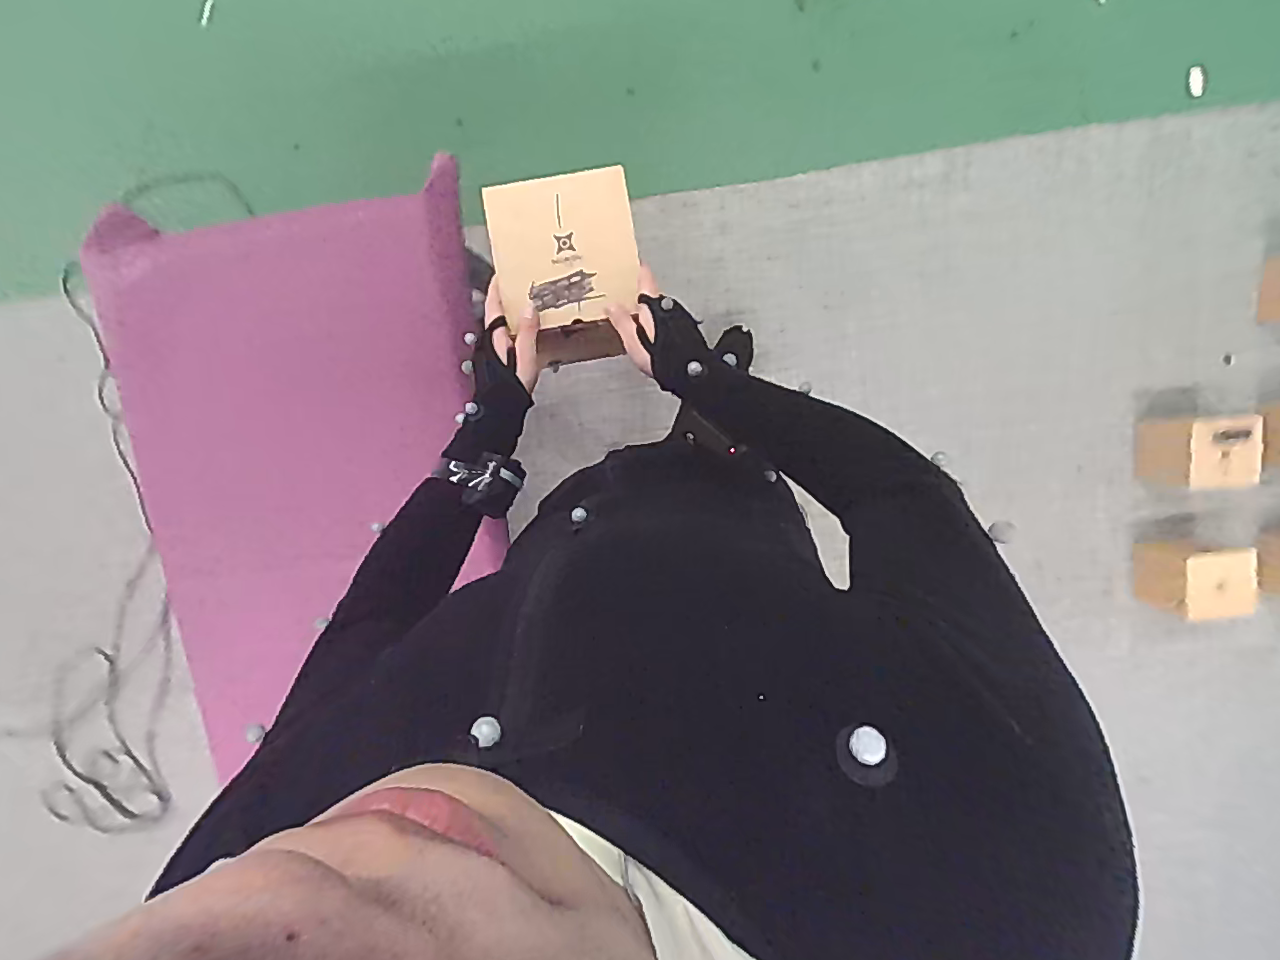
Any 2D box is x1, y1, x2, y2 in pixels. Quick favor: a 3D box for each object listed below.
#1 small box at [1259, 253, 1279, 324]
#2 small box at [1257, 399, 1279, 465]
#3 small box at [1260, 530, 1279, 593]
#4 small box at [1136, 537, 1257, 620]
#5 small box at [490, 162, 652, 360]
[{"bbox_3d":[1.718,-0.500,1.349,0.168,0.176,0.179,-4,96,5],"label":"small box"},{"bbox_3d":[1.761,-0.127,1.392,0.168,0.176,0.179,-7,96,4],"label":"small box"},{"bbox_3d":[1.813,0.225,1.430,0.168,0.176,0.179,-7,97,5],"label":"small box"},{"bbox_3d":[1.491,0.258,1.460,0.168,0.176,0.179,-8,97,5],"label":"small box"},{"bbox_3d":[-0.077,-0.259,0.682,0.168,0.176,0.179,-8,88,-2],"label":"small box"}]
